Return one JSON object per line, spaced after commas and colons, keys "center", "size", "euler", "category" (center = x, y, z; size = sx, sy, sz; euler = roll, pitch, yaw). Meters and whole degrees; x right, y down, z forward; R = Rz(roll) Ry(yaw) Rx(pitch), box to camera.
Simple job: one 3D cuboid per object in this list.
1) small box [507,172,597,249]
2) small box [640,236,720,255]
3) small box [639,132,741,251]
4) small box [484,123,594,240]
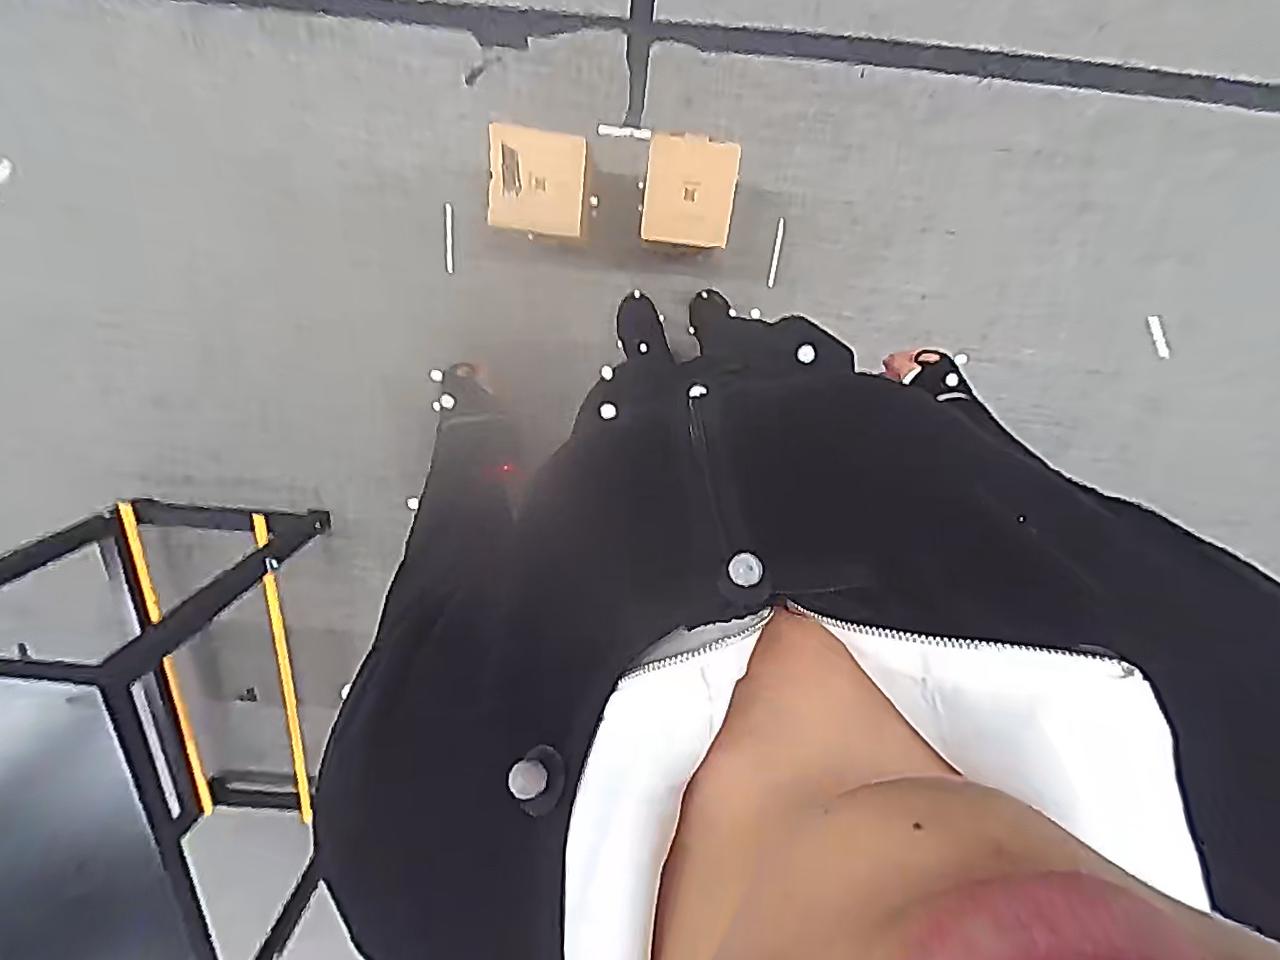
{"center": [-0.192, -0.622, 1.209], "size": [0.168, 0.176, 0.179], "euler": [8, 112, -2], "category": "small box"}
{"center": [0.094, -0.602, 1.214], "size": [0.179, 0.176, 0.168], "euler": [5, 111, -1], "category": "small box"}
{"center": [0.089, -0.554, 1.059], "size": [0.168, 0.176, 0.179], "euler": [7, 113, -1], "category": "small box"}
{"center": [-0.191, -0.568, 1.052], "size": [0.179, 0.176, 0.168], "euler": [7, 111, -3], "category": "small box"}
